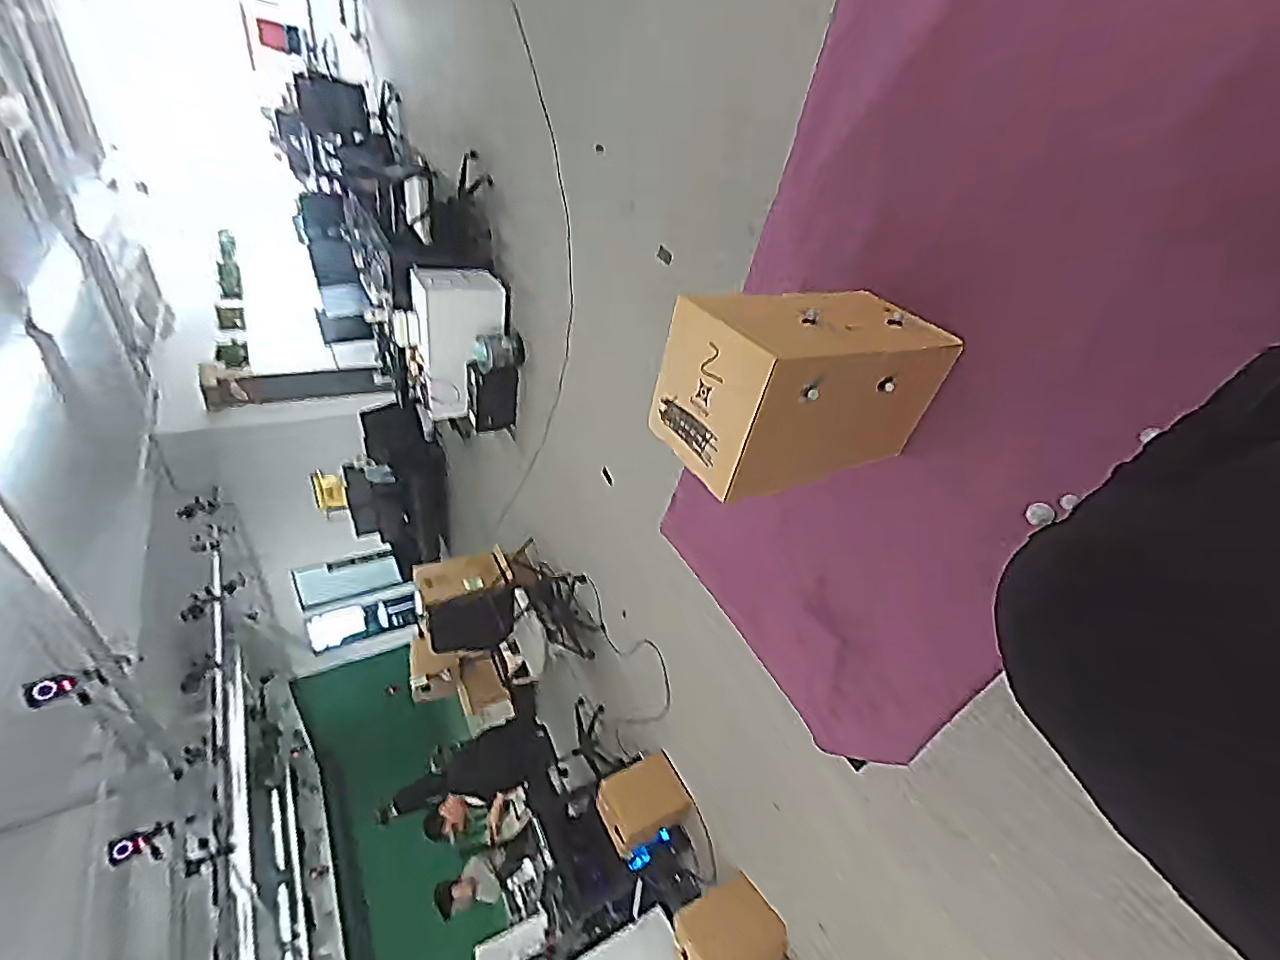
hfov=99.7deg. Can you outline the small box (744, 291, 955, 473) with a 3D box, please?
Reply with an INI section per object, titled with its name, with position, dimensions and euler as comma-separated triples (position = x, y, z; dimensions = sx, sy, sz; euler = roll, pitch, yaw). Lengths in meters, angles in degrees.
[small box]
position = 0.272, -0.136, 0.717
dimensions = 0.168, 0.176, 0.179
euler = 50, 140, 39
